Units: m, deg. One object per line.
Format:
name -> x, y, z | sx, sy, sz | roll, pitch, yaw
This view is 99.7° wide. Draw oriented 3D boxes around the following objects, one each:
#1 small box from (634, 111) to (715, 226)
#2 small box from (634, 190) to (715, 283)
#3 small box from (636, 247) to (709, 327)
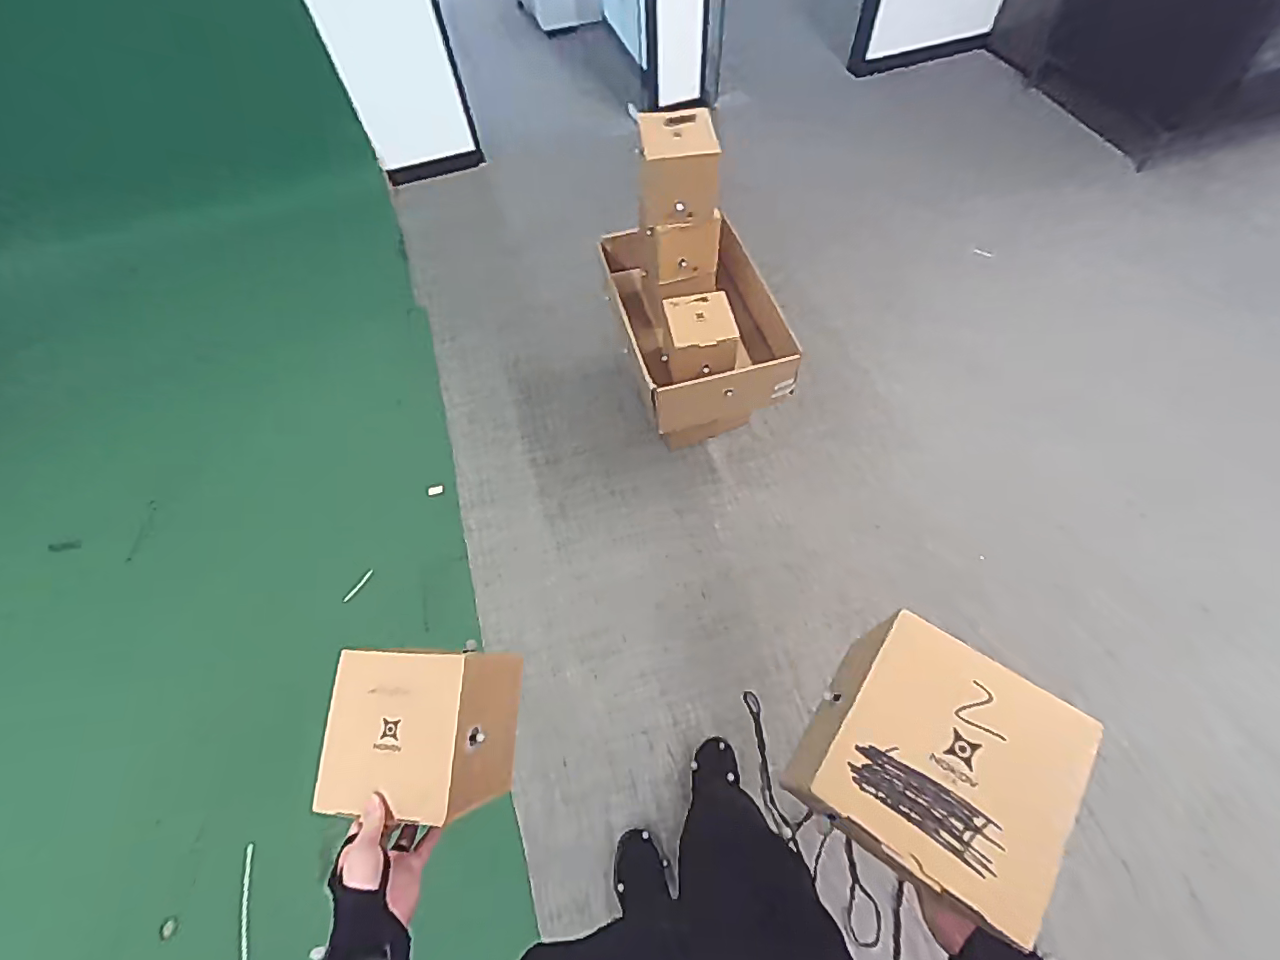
small box -> 0.074, -0.732, 1.278 | 0.168, 0.176, 0.179 | -7, 63, -2
small box -> 0.085, -0.652, 1.421 | 0.168, 0.176, 0.179 | -16, 63, -7
small box -> 0.089, -0.577, 1.565 | 0.168, 0.176, 0.179 | -15, 62, -6
